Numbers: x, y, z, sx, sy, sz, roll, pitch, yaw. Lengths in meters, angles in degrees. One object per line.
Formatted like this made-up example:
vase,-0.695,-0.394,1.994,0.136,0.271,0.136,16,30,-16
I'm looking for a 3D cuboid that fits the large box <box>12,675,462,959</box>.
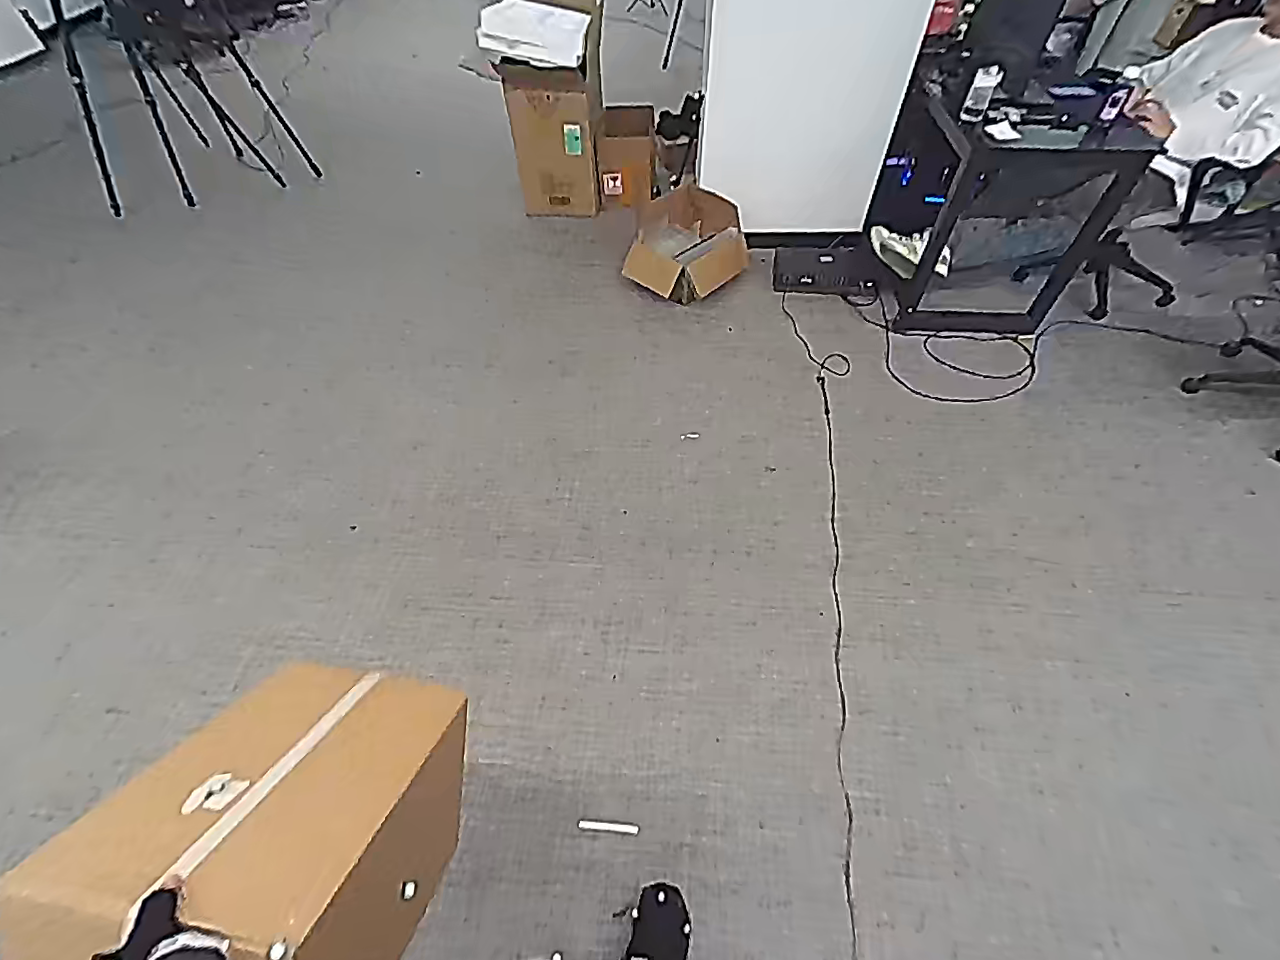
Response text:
large box,-0.481,0.541,0.750,0.320,0.320,0.408,8,13,5
